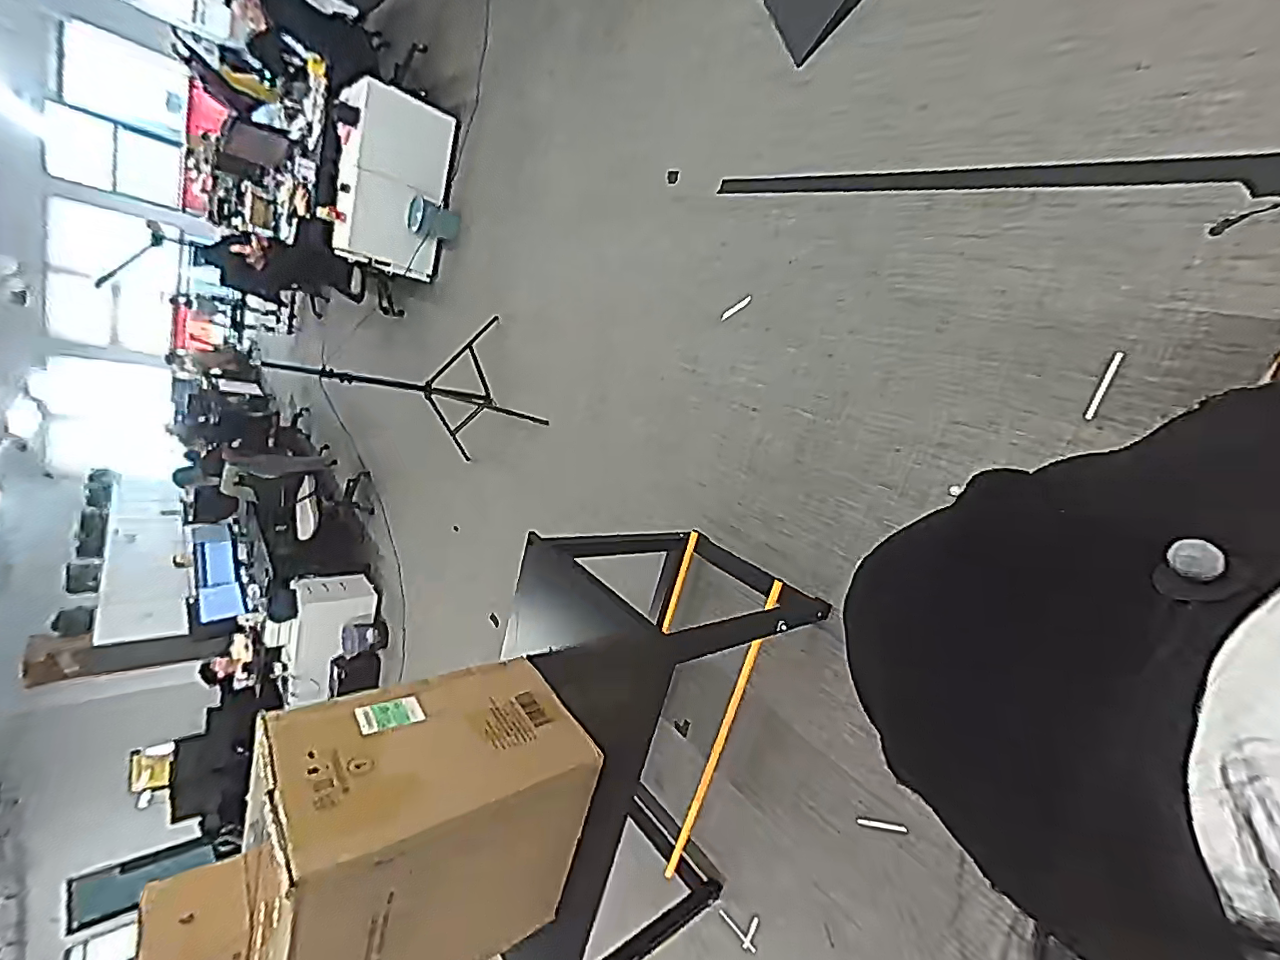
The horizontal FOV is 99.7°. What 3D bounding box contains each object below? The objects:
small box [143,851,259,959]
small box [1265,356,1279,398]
[{"bbox_3d":[-0.875,0.896,1.078,0.179,0.176,0.168,30,110,45],"label":"small box"},{"bbox_3d":[1.189,-0.201,0.884,0.179,0.176,0.168,34,114,42],"label":"small box"}]
